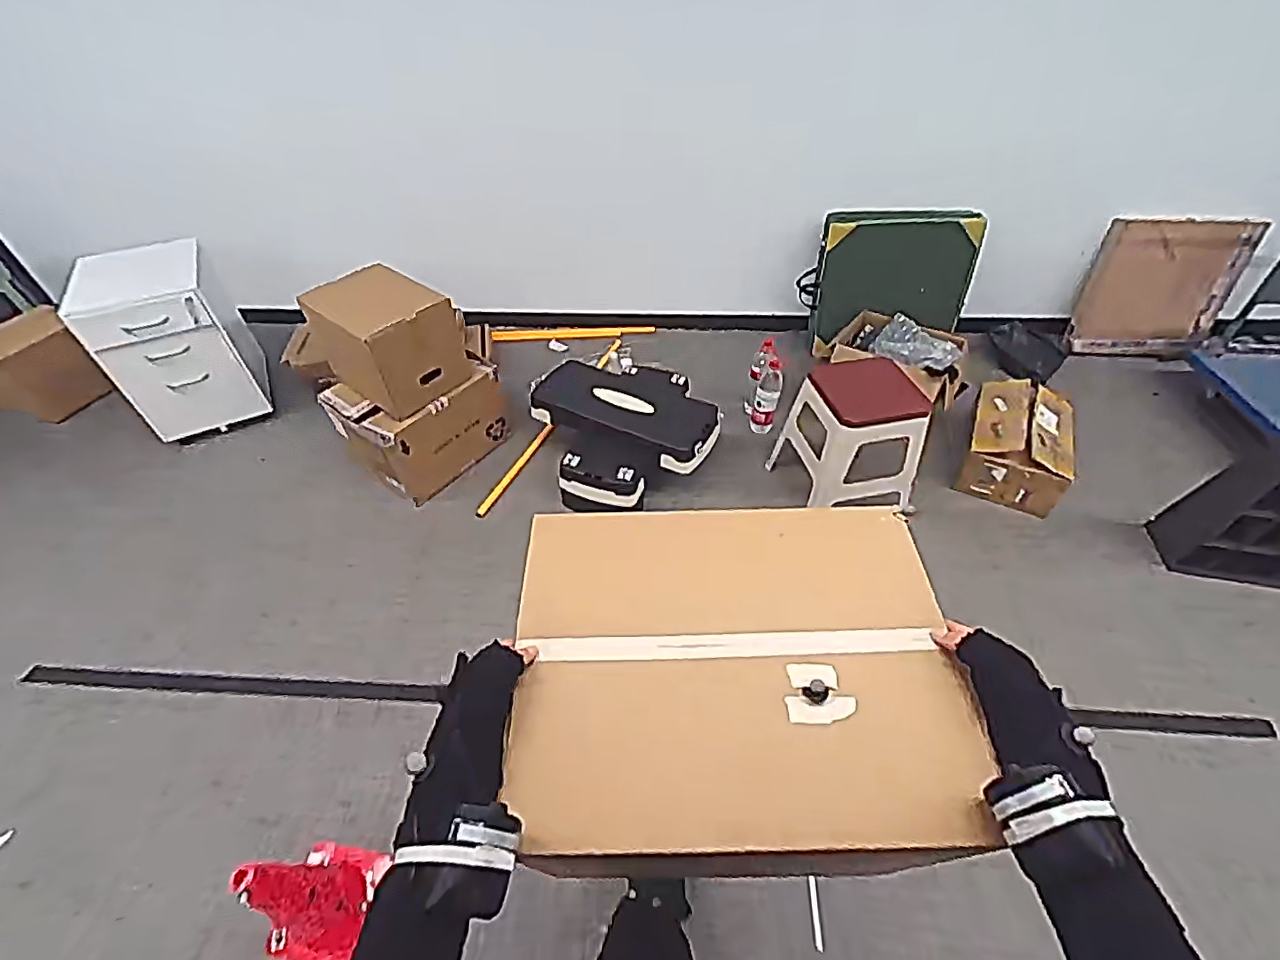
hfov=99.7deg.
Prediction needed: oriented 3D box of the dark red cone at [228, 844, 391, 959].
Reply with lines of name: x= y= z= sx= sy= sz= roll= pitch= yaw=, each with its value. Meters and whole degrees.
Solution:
dark red cone: x=-0.648 y=0.773 z=1.010 sx=0.201 sy=0.394 sz=0.202 roll=7 pitch=46 yaw=6

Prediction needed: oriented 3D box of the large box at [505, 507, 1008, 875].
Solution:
large box: x=0.089 y=0.250 z=0.628 sx=0.408 sy=0.320 sz=0.320 roll=-1 pitch=51 yaw=0
